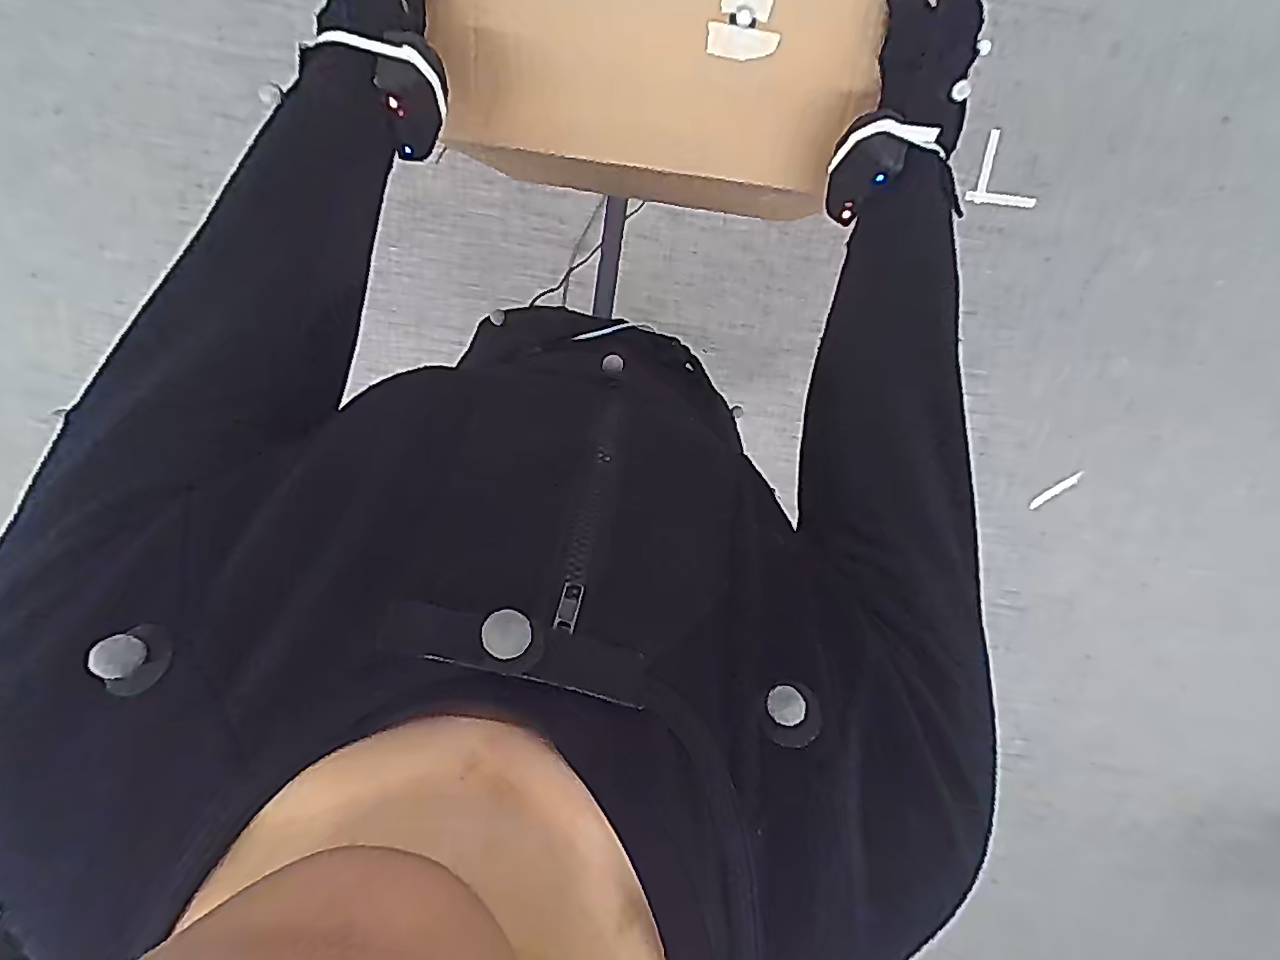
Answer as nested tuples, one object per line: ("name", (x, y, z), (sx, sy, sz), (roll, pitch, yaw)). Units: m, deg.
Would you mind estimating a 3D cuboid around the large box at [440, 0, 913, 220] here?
("large box", (0.035, -0.483, 0.582), (0.408, 0.320, 0.320), (8, 113, -1))
